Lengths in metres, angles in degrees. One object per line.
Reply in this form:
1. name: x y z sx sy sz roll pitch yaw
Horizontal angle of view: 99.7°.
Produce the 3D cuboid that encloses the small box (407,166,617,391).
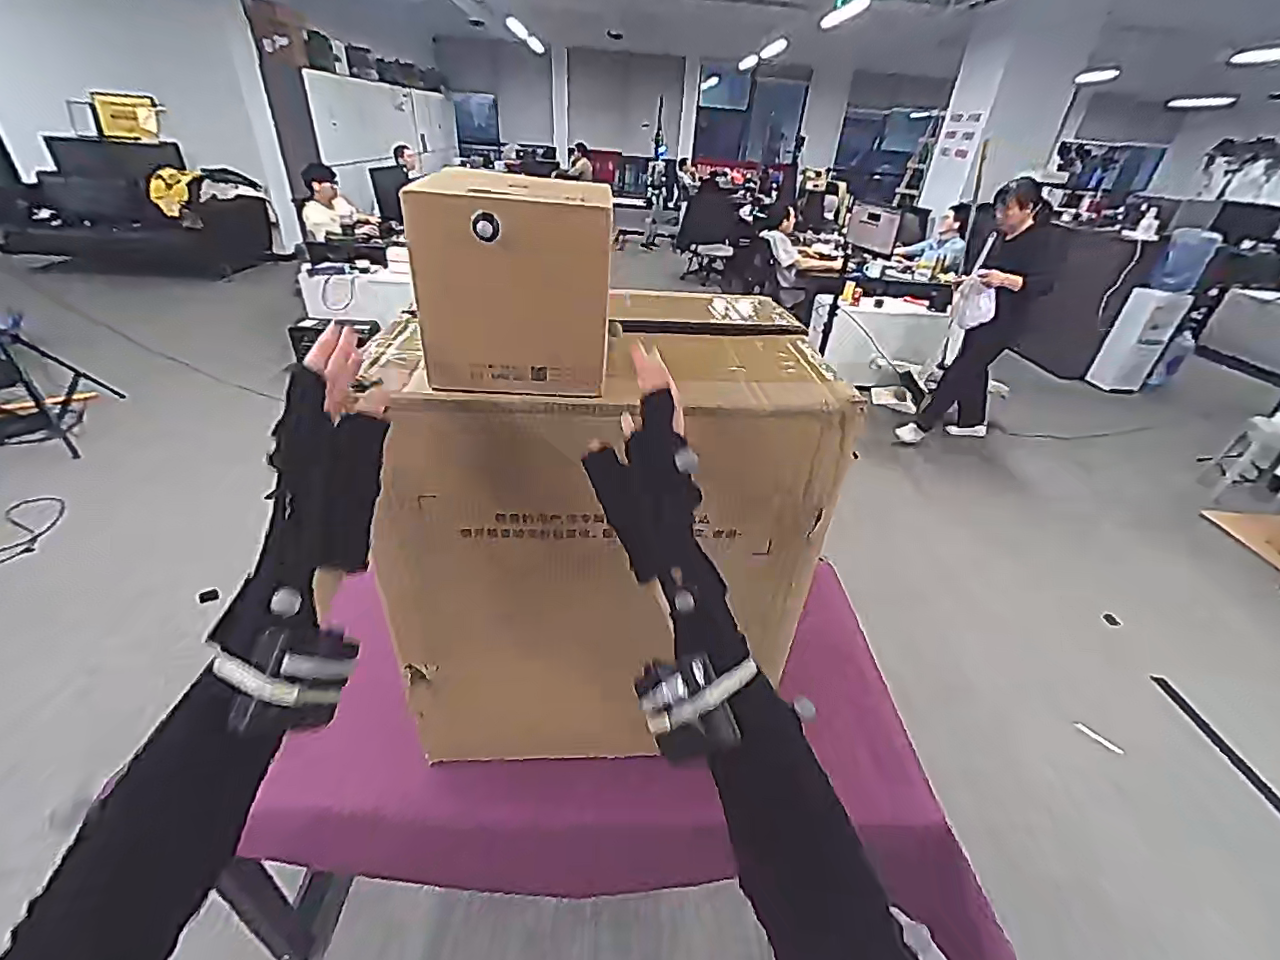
1. small box: -0.111 -0.202 0.533 0.168 0.176 0.179 2 33 -5
